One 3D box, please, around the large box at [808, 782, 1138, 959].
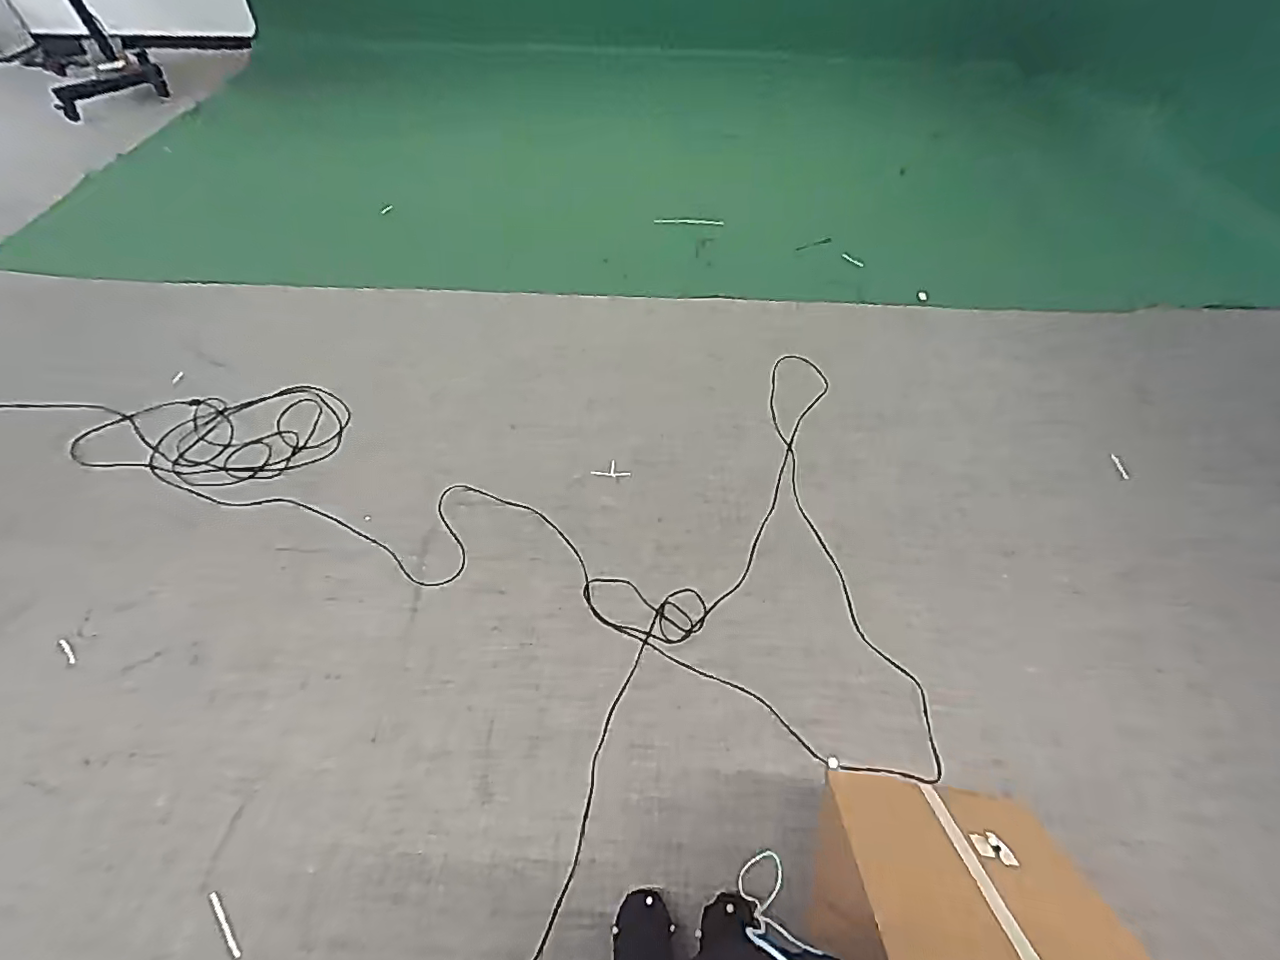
[{"bbox_3d":[0.426,0.690,0.716,0.320,0.408,0.320,8,93,8],"label":"large box"}]
